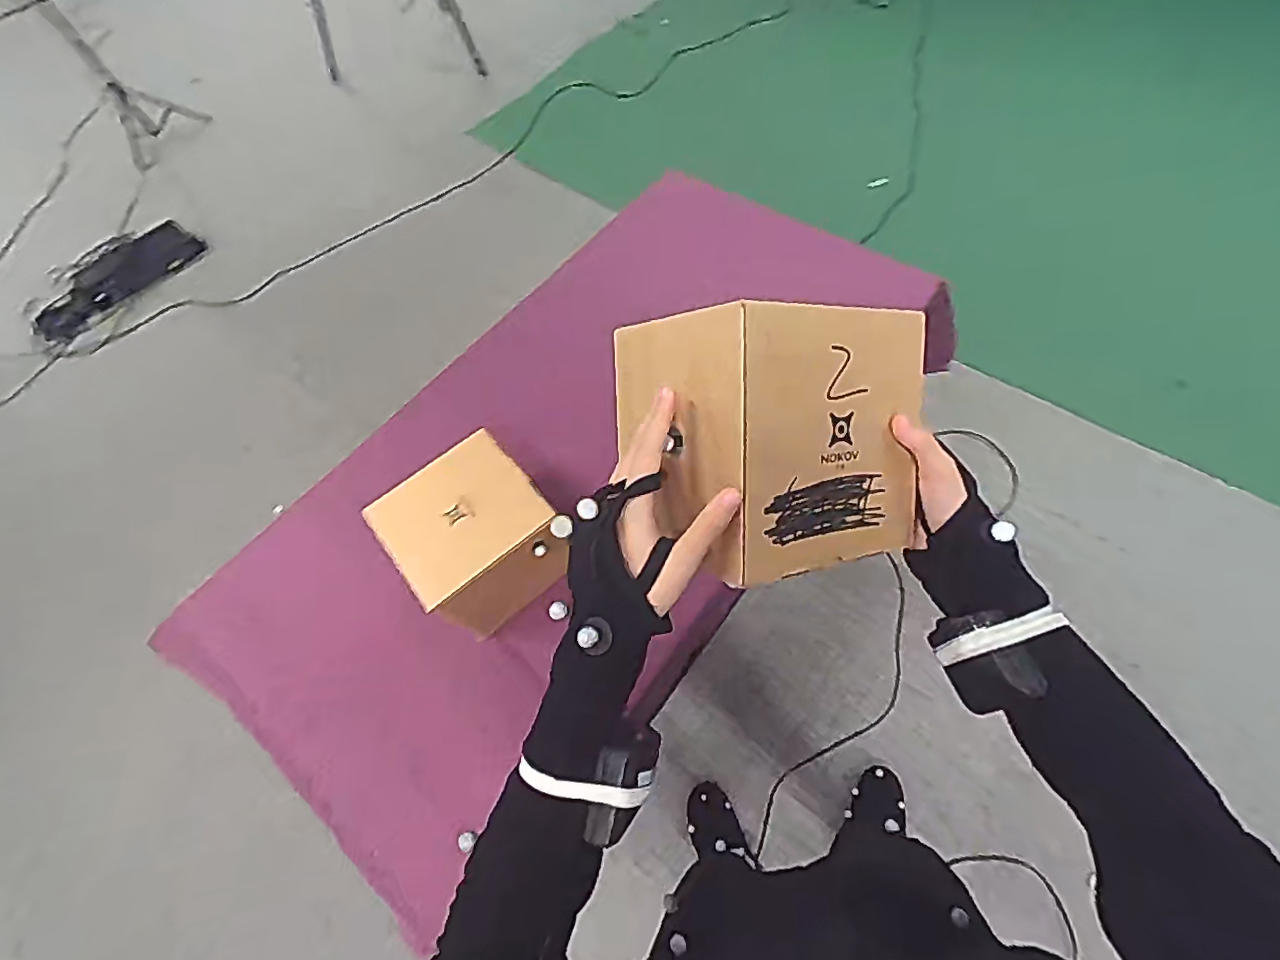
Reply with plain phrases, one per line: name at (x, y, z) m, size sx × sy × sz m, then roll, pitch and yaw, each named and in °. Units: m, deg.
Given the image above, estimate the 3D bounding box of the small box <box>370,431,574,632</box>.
small box at (-0.211, 0.076, 0.724) m, size 0.179 × 0.176 × 0.168 m, roll -39°, pitch 65°, yaw -15°
